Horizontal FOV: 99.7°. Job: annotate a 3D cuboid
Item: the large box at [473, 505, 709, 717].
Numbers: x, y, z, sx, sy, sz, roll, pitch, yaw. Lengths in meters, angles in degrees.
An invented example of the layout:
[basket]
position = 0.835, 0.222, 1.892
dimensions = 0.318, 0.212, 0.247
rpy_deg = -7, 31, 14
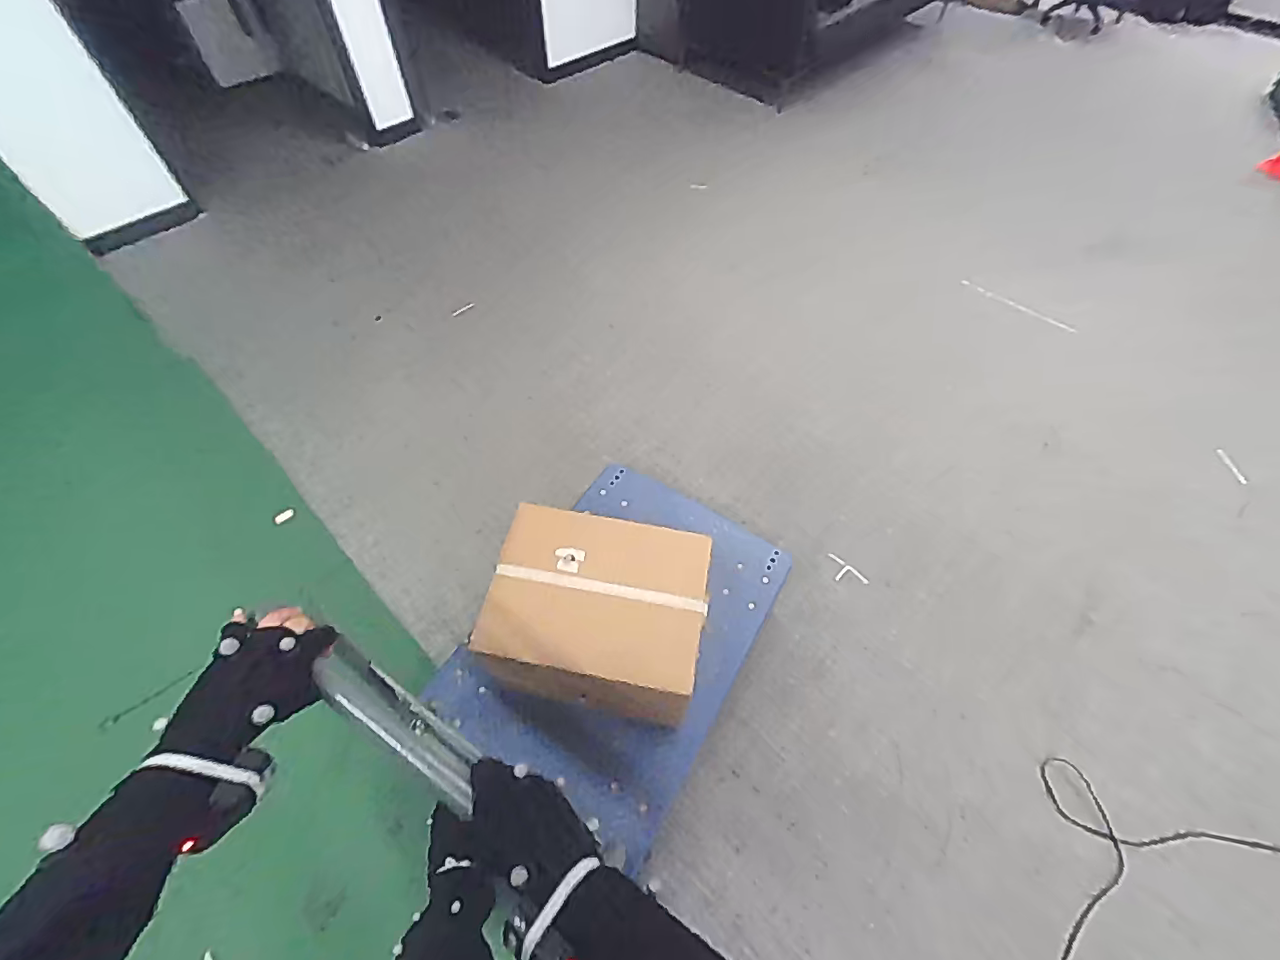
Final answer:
[large box]
position = -0.077, 0.286, 1.152
dimensions = 0.408, 0.320, 0.320
rpy_deg = 9, 56, 6
